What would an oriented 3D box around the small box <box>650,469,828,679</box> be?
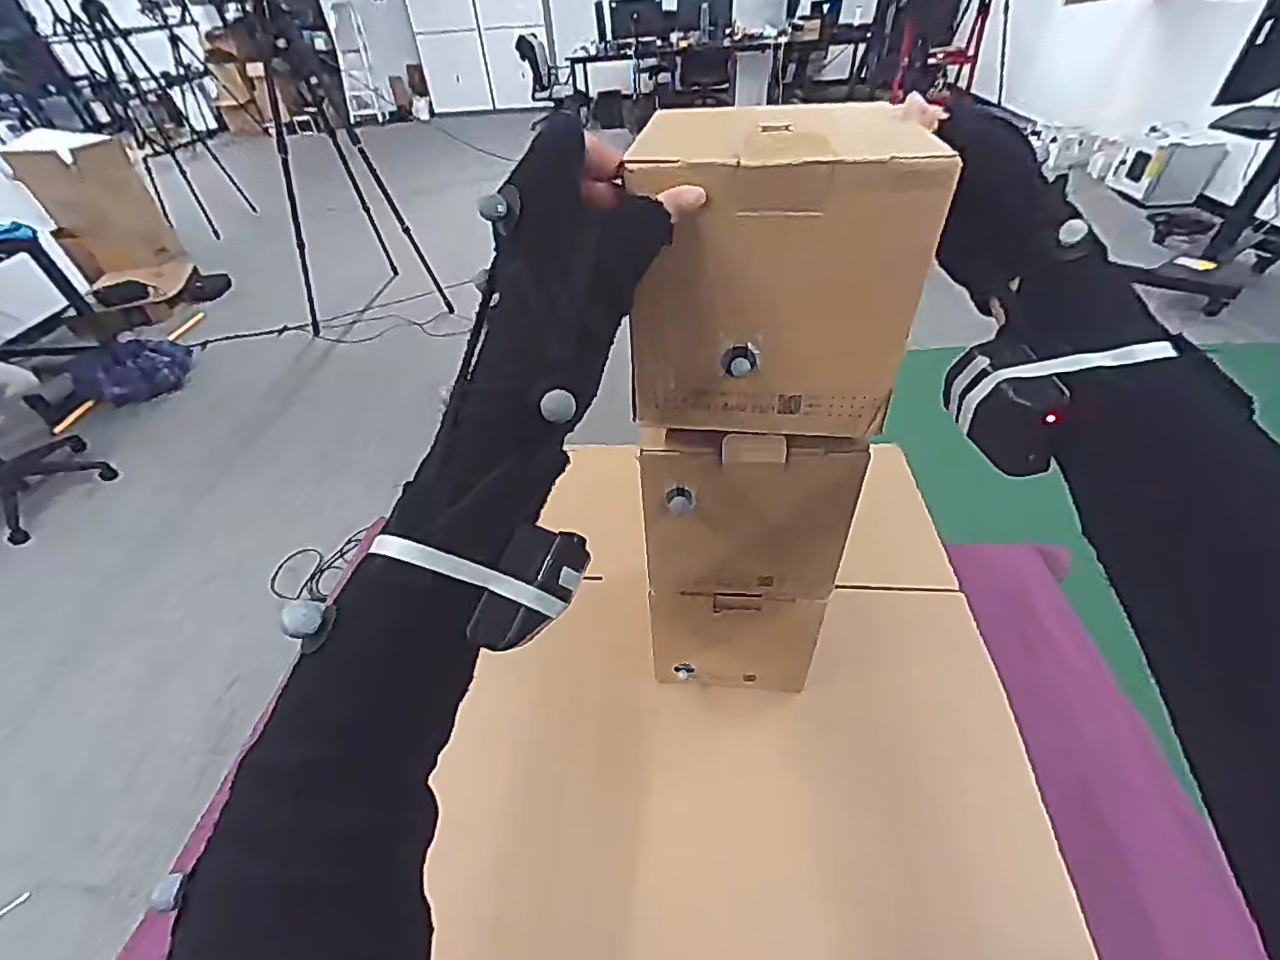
[{"bbox_3d":[0.100,0.107,0.608,0.168,0.176,0.179,-1,44,4],"label":"small box"}]
